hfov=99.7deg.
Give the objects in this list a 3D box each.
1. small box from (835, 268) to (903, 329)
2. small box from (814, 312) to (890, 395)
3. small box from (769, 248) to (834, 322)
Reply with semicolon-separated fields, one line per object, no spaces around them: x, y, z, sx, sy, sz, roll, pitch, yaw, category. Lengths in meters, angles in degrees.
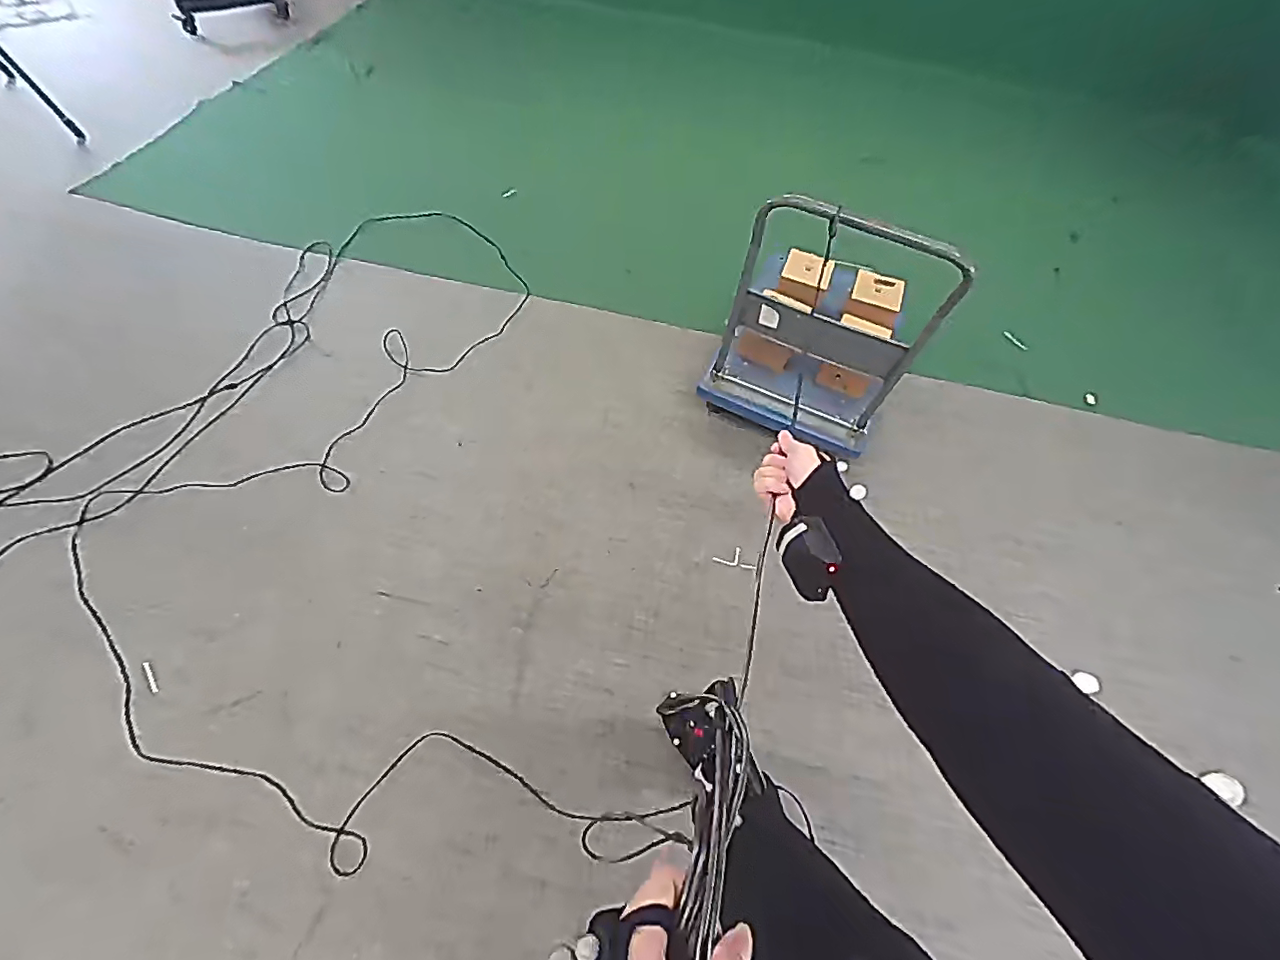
0.819;-0.622;1.943;0.168;0.176;0.179;20;59;9;small box
0.704;-0.419;1.807;0.168;0.176;0.179;25;60;10;small box
0.586;-0.709;1.977;0.168;0.176;0.179;21;58;7;small box
